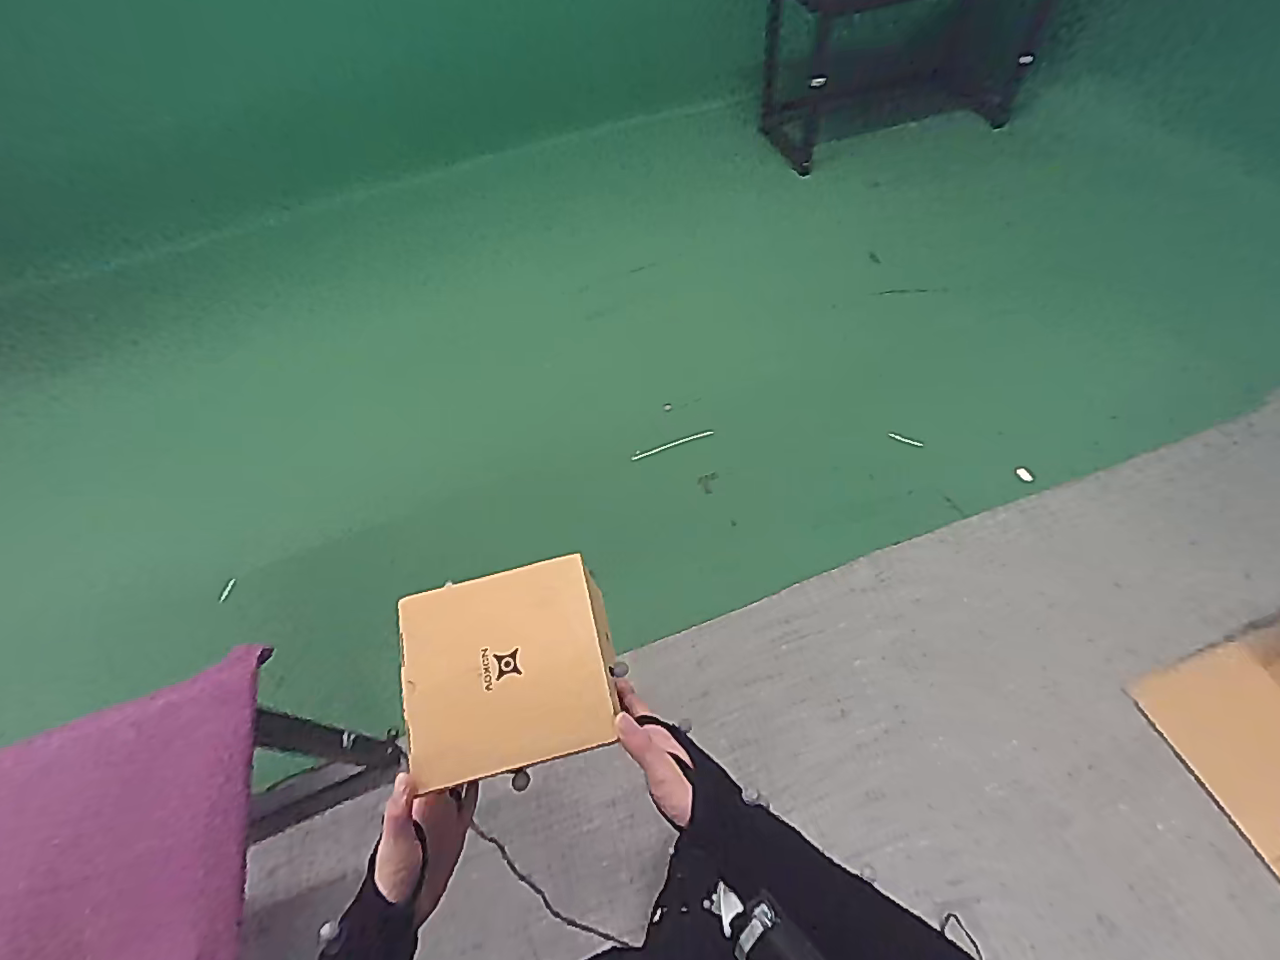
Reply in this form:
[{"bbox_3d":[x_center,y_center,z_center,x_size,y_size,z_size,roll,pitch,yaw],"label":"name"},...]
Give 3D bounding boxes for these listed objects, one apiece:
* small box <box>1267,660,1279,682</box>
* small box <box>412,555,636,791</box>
[{"bbox_3d":[1.701,0.482,1.285,0.168,0.176,0.179,-17,56,-5],"label":"small box"},{"bbox_3d":[-0.104,0.191,0.545,0.179,0.176,0.168,-14,67,-2],"label":"small box"}]
